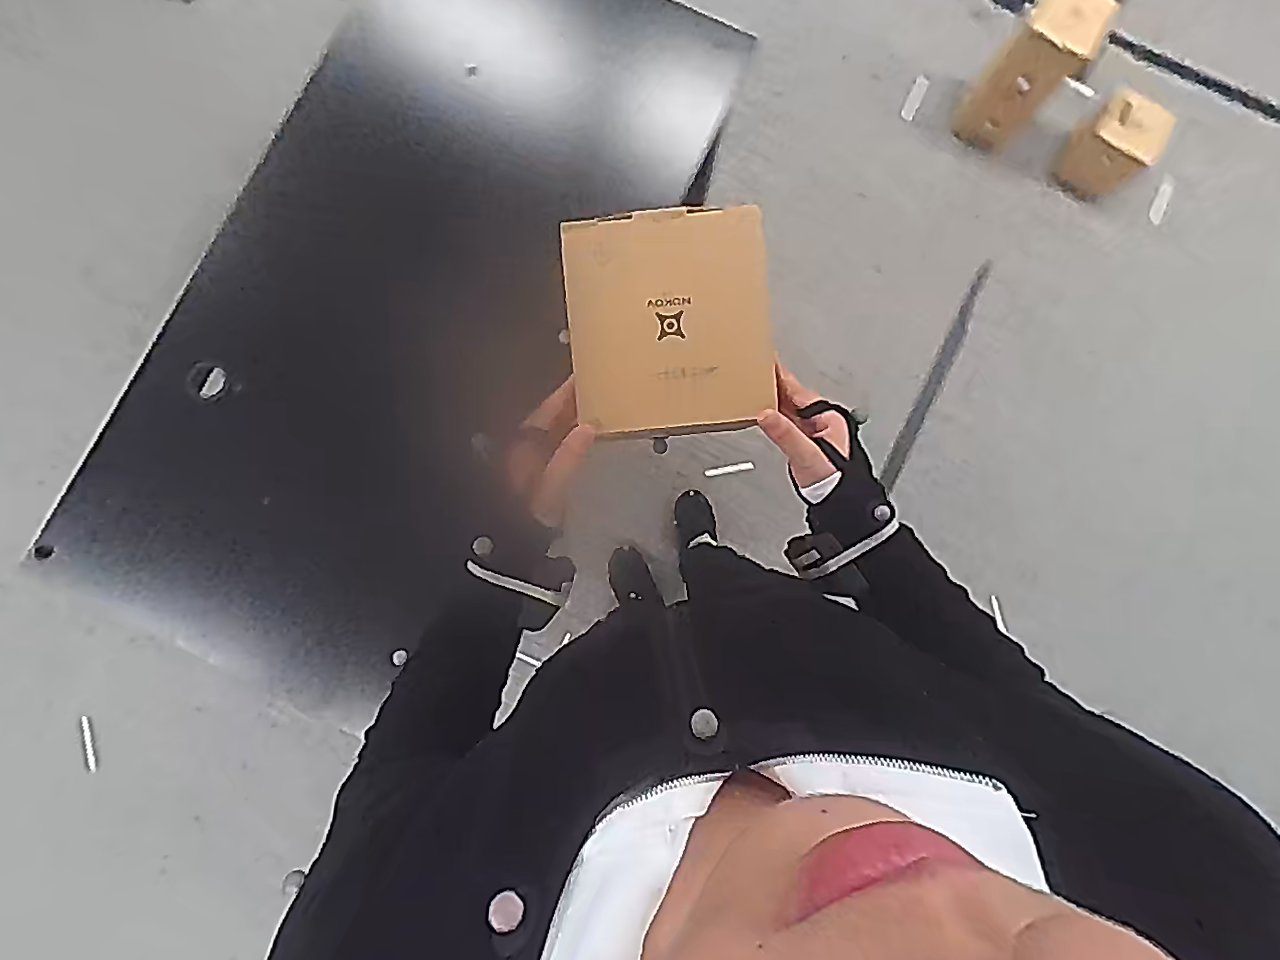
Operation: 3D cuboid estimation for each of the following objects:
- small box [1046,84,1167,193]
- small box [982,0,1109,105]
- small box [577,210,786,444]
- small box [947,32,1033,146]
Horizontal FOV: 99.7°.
[{"bbox_3d":[1.327,-0.969,1.551,0.179,0.176,0.168,29,86,0],"label":"small box"},{"bbox_3d":[1.031,-1.129,1.390,0.168,0.176,0.179,30,86,2],"label":"small box"},{"bbox_3d":[0.033,-0.130,0.520,0.168,0.176,0.179,-4,92,1],"label":"small box"},{"bbox_3d":[1.025,-1.113,1.555,0.168,0.176,0.179,25,86,1],"label":"small box"}]
